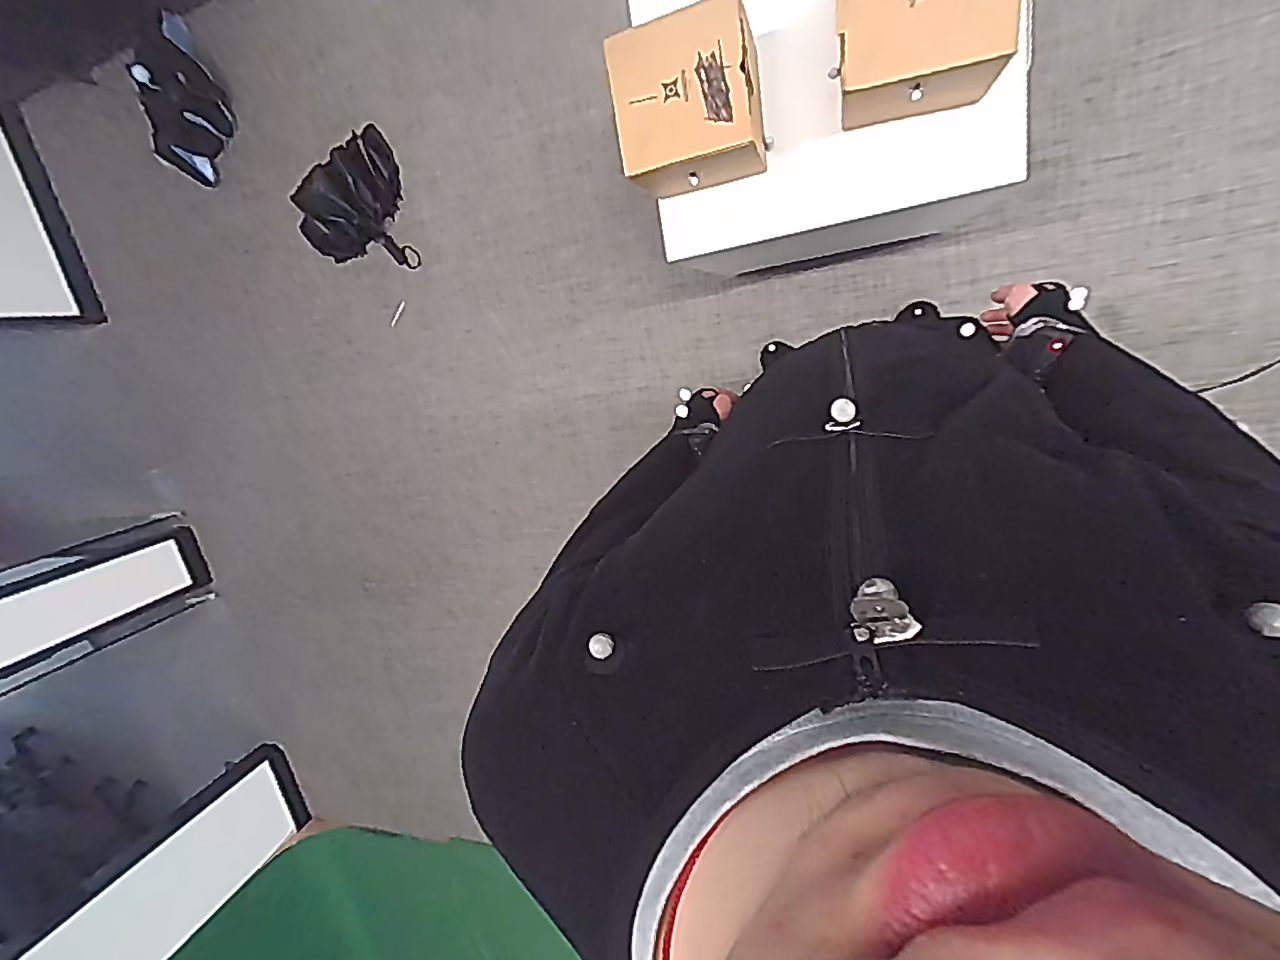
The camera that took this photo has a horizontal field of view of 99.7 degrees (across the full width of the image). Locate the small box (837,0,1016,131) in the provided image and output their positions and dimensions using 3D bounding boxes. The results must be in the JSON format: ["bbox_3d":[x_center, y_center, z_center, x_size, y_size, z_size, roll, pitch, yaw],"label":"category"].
[{"bbox_3d":[0.332,-0.547,0.652,0.179,0.176,0.168,0,108,20],"label":"small box"}]

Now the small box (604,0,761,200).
[{"bbox_3d":[0.071,-0.510,0.755,0.179,0.176,0.168,-4,105,21],"label":"small box"}]
